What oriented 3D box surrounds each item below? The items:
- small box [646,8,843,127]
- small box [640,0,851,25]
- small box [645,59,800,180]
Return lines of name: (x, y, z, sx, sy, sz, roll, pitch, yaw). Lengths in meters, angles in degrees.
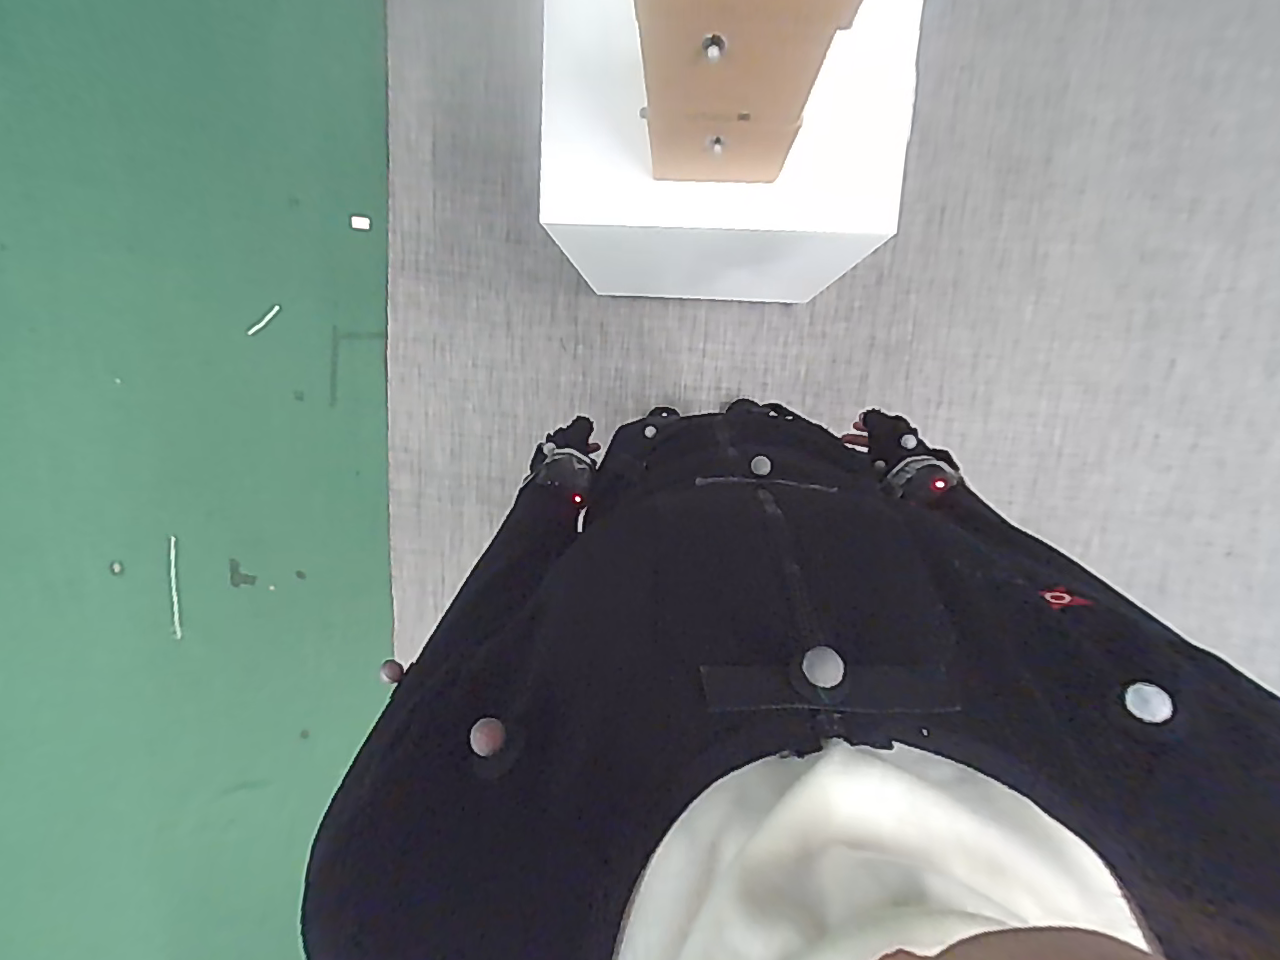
small box: (0.093, -0.474, 0.516, 0.168, 0.176, 0.179, 2, 100, 3)
small box: (0.082, -0.443, 0.352, 0.179, 0.176, 0.168, 6, 100, 3)
small box: (0.102, -0.494, 0.676, 0.179, 0.176, 0.168, 3, 99, 3)
